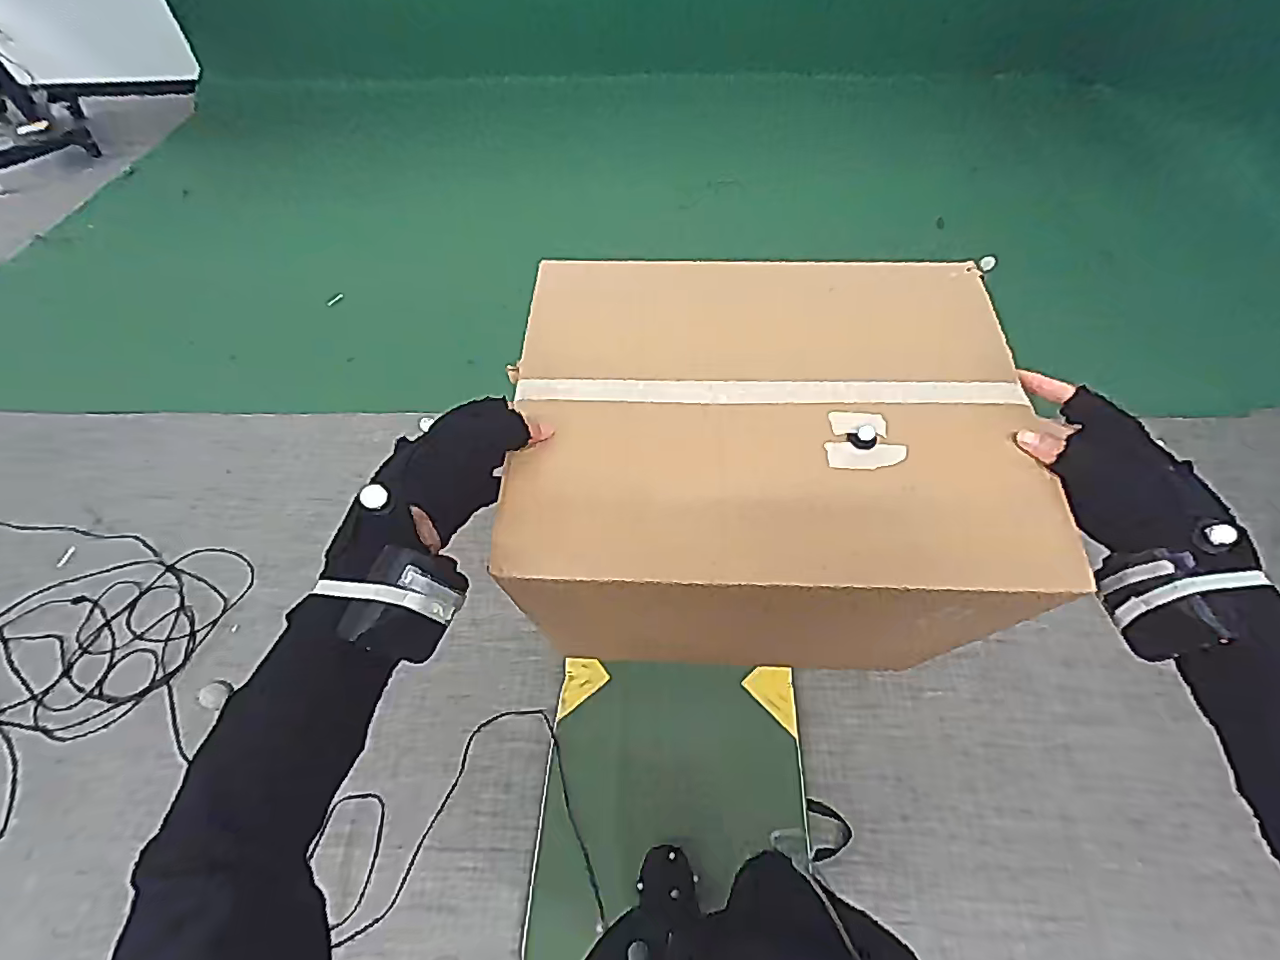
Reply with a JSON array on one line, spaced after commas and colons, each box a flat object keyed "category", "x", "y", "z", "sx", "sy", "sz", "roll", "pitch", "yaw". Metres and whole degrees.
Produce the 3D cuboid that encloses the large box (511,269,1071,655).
[{"category": "large box", "x": 0.107, "y": 0.002, "z": 0.580, "sx": 0.408, "sy": 0.320, "sz": 0.320, "roll": 1, "pitch": 62, "yaw": 1}]
